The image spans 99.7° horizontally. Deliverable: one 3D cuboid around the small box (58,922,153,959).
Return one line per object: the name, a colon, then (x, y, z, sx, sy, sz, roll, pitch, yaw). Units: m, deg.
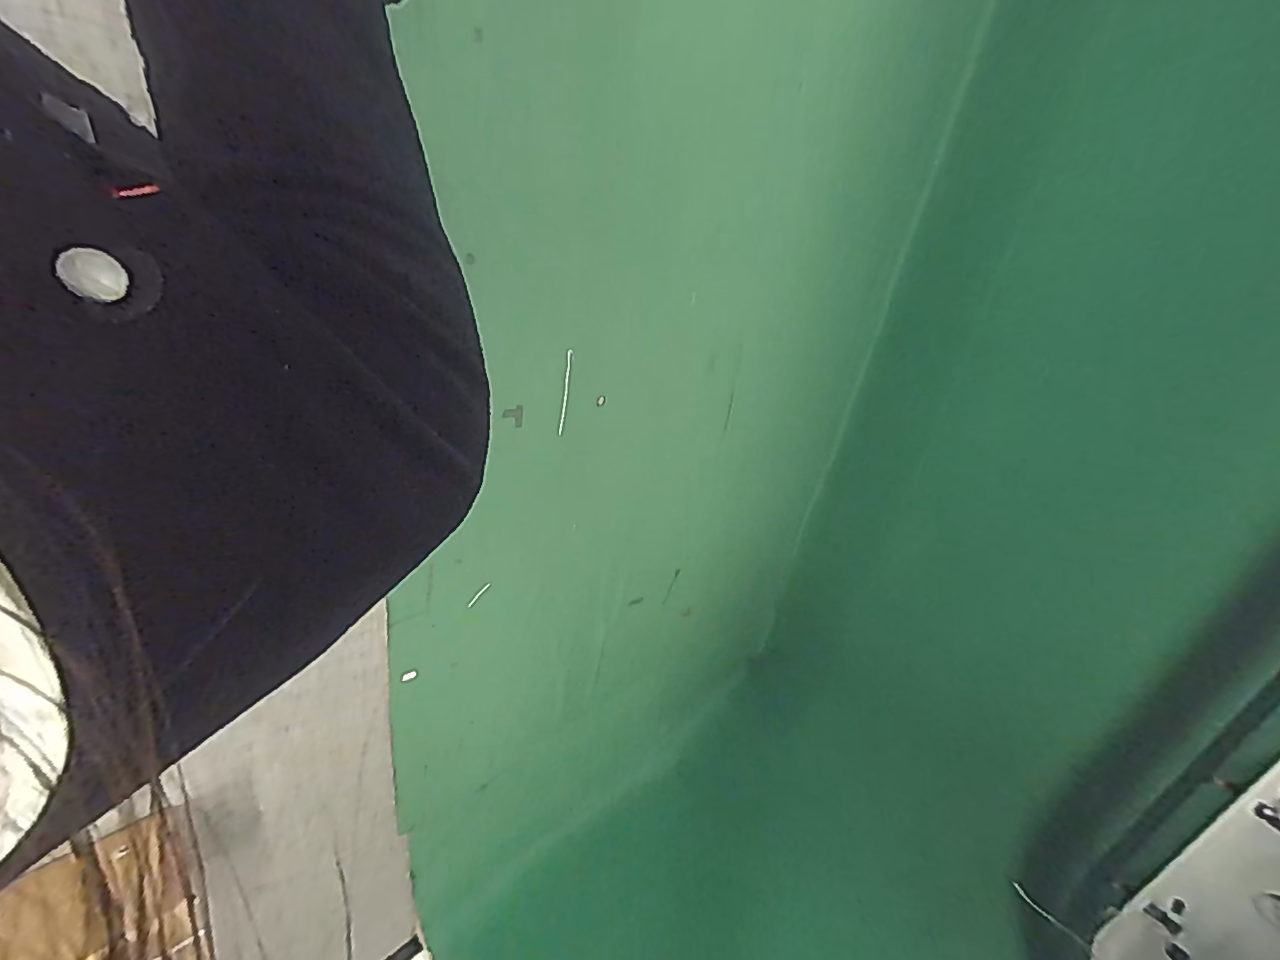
small box: (-1.260, 1.194, 1.262, 0.168, 0.176, 0.179, -21, 130, -41)
